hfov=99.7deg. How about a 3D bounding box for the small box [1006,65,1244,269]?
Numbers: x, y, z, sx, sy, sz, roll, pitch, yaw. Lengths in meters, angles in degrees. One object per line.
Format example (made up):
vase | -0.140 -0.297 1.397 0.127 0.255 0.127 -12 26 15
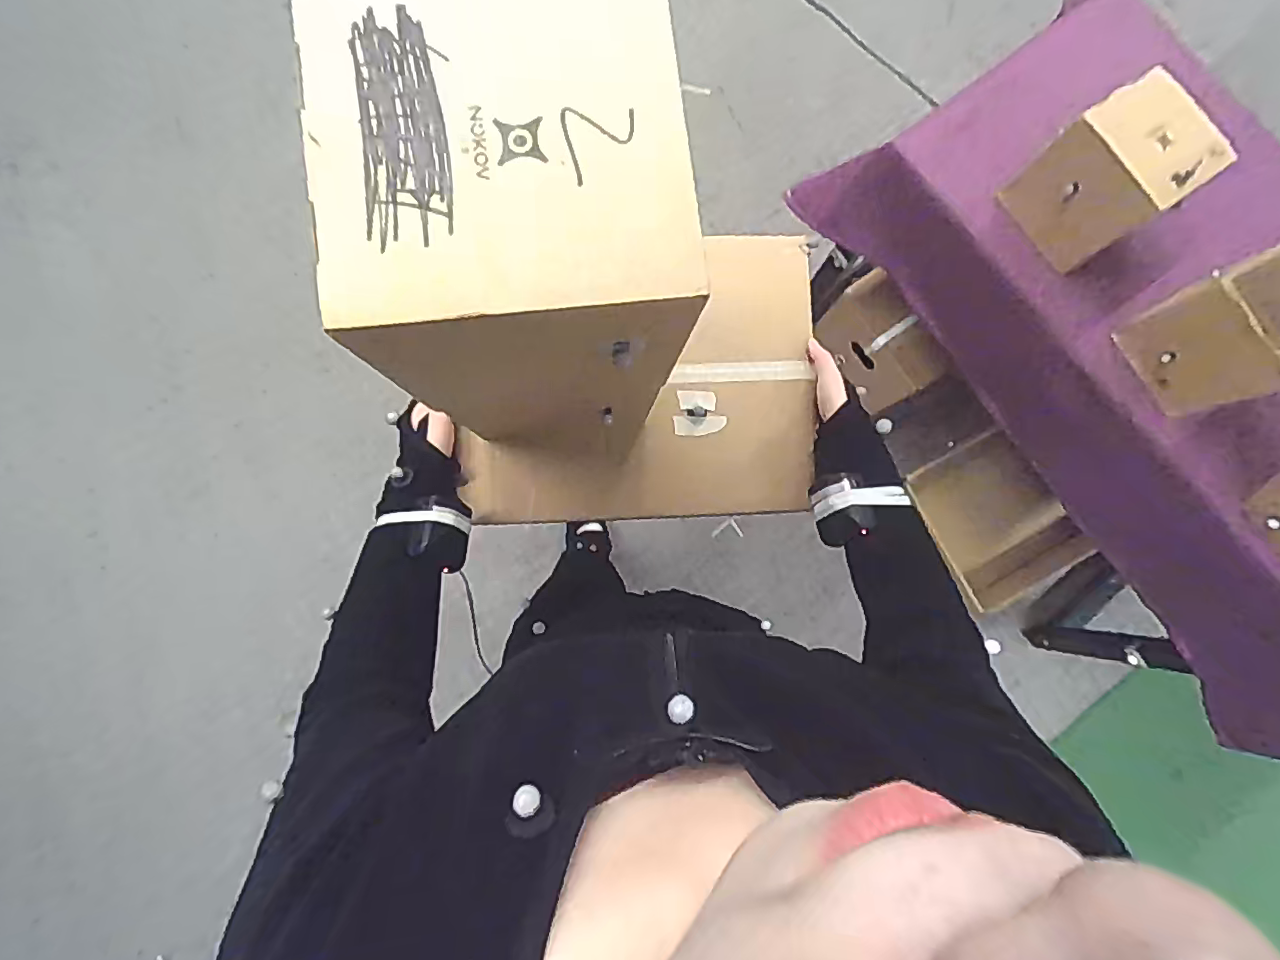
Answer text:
small box | 0.720 -0.465 0.827 0.168 0.176 0.179 -34 84 -8

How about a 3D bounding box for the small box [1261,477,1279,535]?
small box | 1.067 0.044 0.767 0.179 0.176 0.168 -34 84 -9

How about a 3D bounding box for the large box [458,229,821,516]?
large box | -0.014 -0.118 0.744 0.408 0.320 0.320 -2 88 -4

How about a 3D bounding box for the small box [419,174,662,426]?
small box | -0.082 -0.148 0.496 0.179 0.176 0.168 -6 86 -4

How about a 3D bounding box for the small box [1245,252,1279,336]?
small box | 0.910 -0.252 0.640 0.179 0.176 0.168 -28 83 -7

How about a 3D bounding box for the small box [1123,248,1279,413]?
small box | 0.893 -0.224 0.802 0.179 0.176 0.168 -29 84 -7
